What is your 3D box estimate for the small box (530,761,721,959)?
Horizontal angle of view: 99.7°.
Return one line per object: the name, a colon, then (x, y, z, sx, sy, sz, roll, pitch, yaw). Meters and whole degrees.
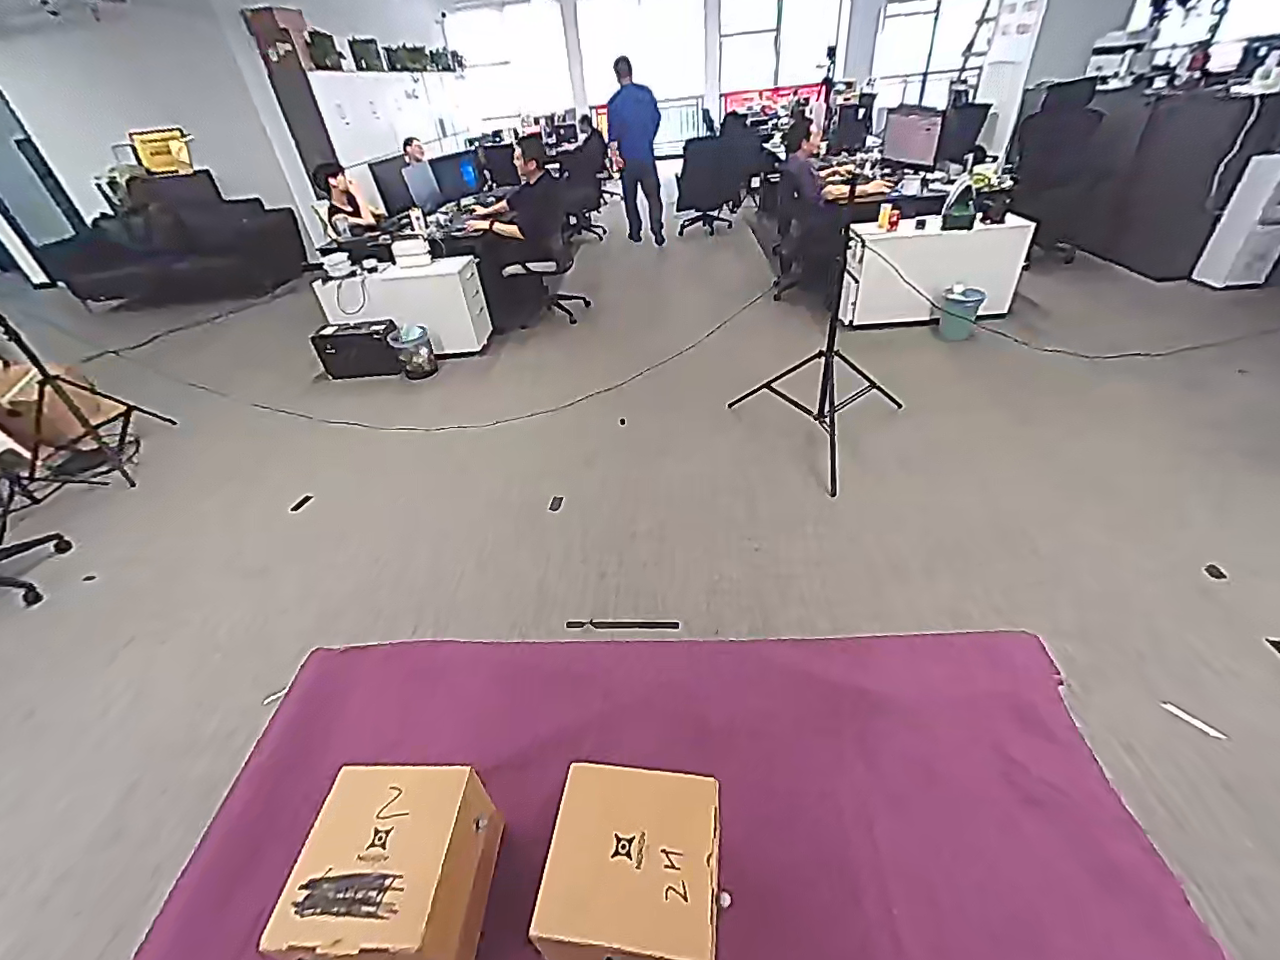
small box: (-0.001, 0.448, 0.609, 0.179, 0.176, 0.168, 2, 37, 10)
